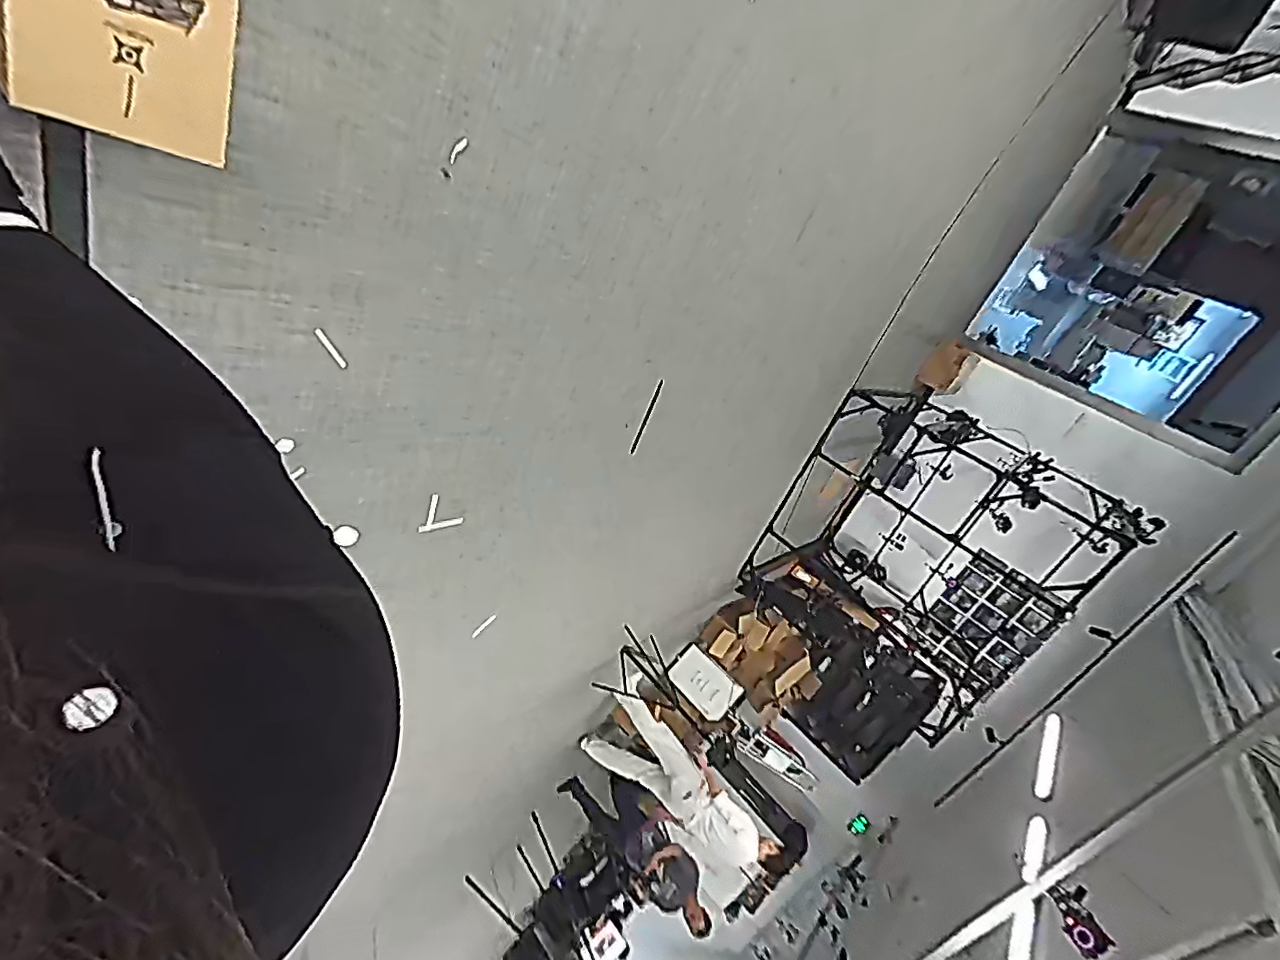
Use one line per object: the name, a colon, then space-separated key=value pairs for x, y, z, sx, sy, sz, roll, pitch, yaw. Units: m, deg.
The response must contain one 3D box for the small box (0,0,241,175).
small box: x=-0.558 y=-0.467 z=0.575 sx=0.168 sy=0.176 sz=0.179 roll=-7 pitch=129 yaw=-52
